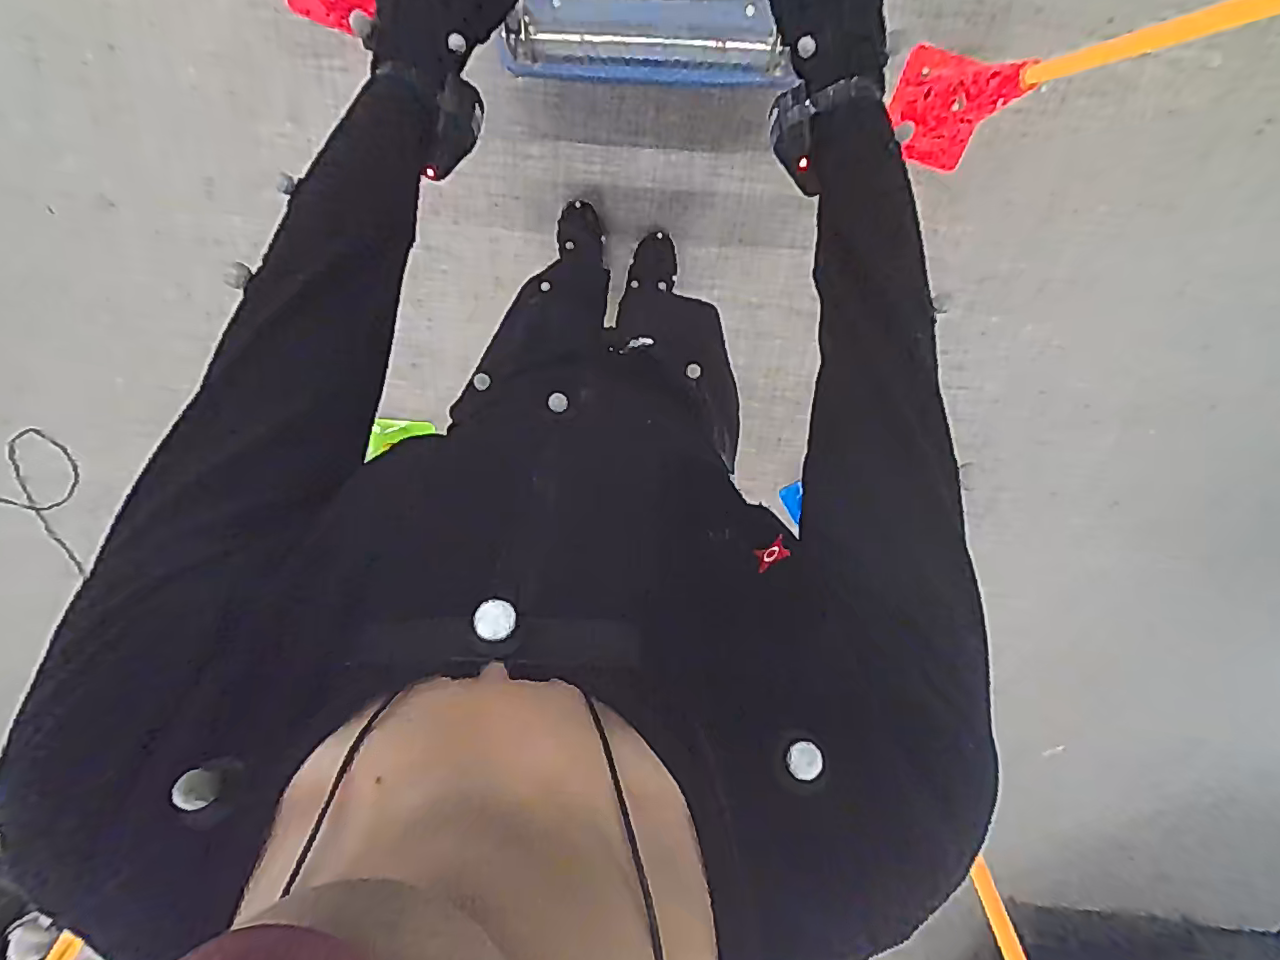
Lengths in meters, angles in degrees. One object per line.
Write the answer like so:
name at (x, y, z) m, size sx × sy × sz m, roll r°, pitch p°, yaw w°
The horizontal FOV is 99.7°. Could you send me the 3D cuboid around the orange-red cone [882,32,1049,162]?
orange-red cone at (0.633, -0.731, 1.000) m, size 0.198 × 0.360 × 0.199 m, roll 16°, pitch 118°, yaw -5°
